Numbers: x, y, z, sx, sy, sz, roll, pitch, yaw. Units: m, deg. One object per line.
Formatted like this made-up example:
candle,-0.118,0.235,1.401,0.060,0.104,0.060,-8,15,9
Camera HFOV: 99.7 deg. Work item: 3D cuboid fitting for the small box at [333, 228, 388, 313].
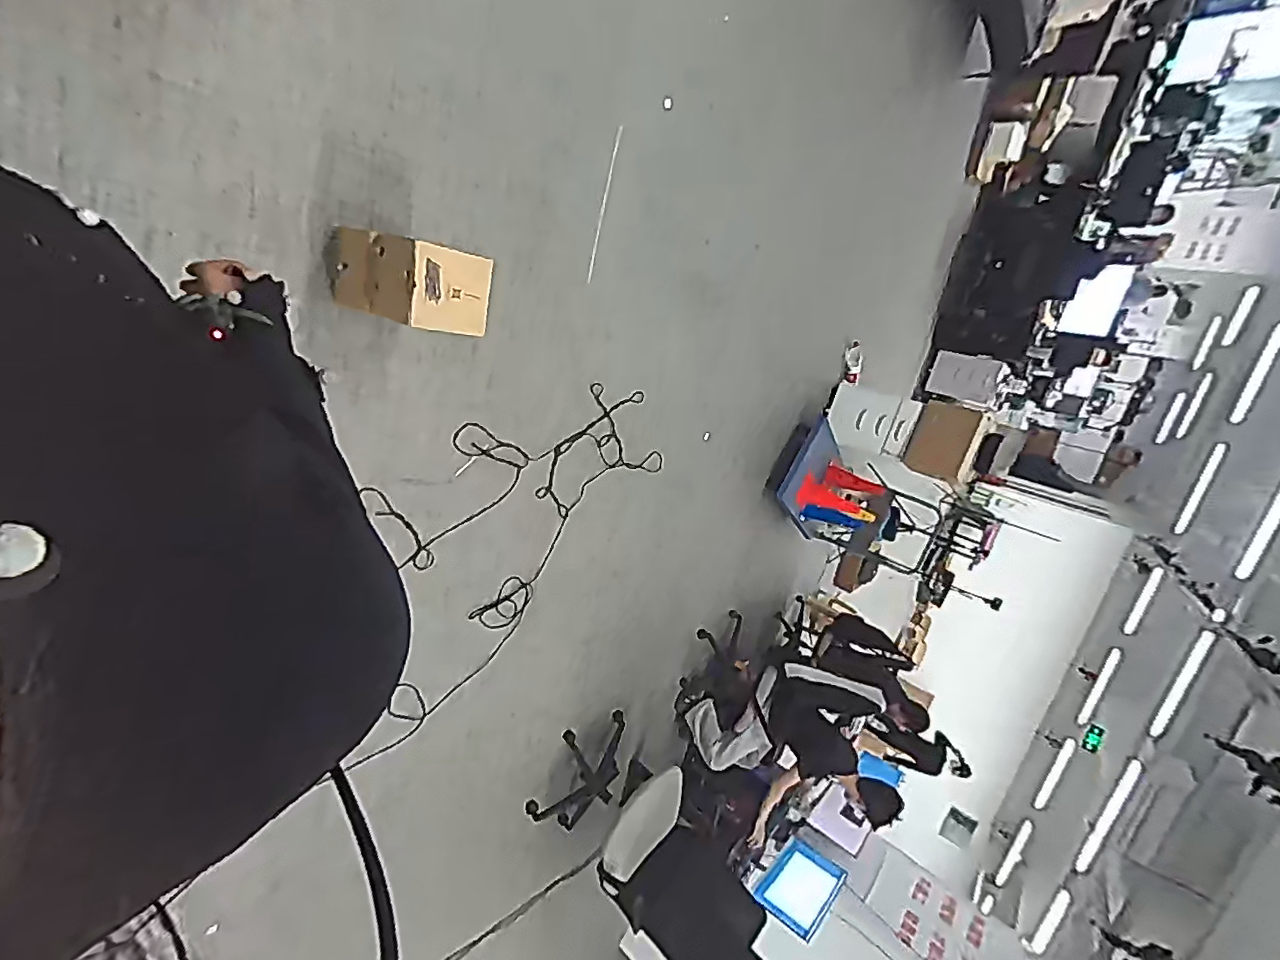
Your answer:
small box,-0.575,-0.471,1.239,0.179,0.176,0.168,-8,116,-49

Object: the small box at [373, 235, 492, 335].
small box,-0.446,-0.415,1.153,0.179,0.176,0.168,-8,116,-51
